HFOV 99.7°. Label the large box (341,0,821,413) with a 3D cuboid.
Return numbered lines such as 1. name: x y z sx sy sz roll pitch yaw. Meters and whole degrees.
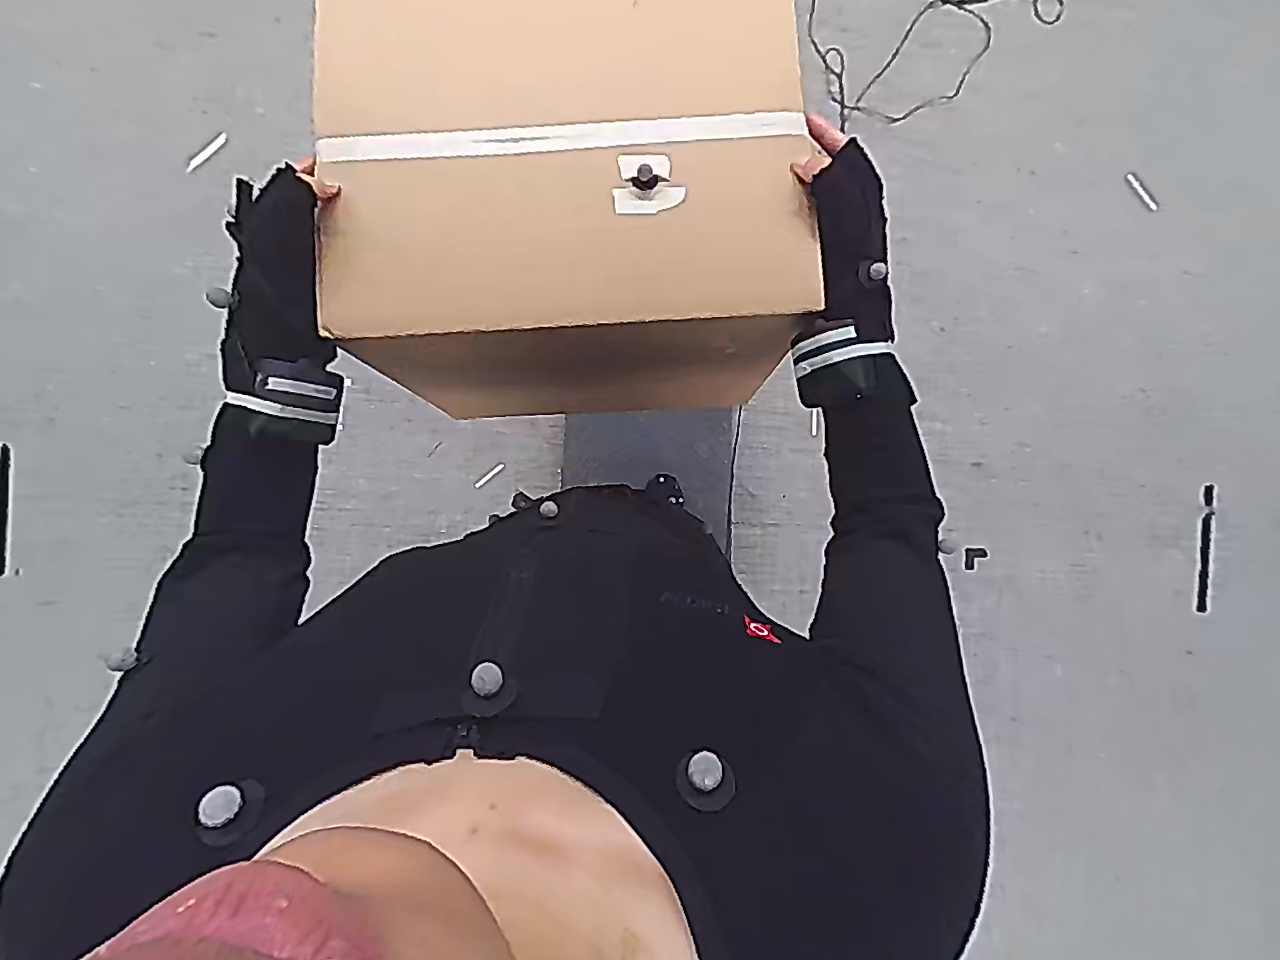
1. large box: -0.058 -0.270 0.610 0.408 0.320 0.320 -3 85 -1
